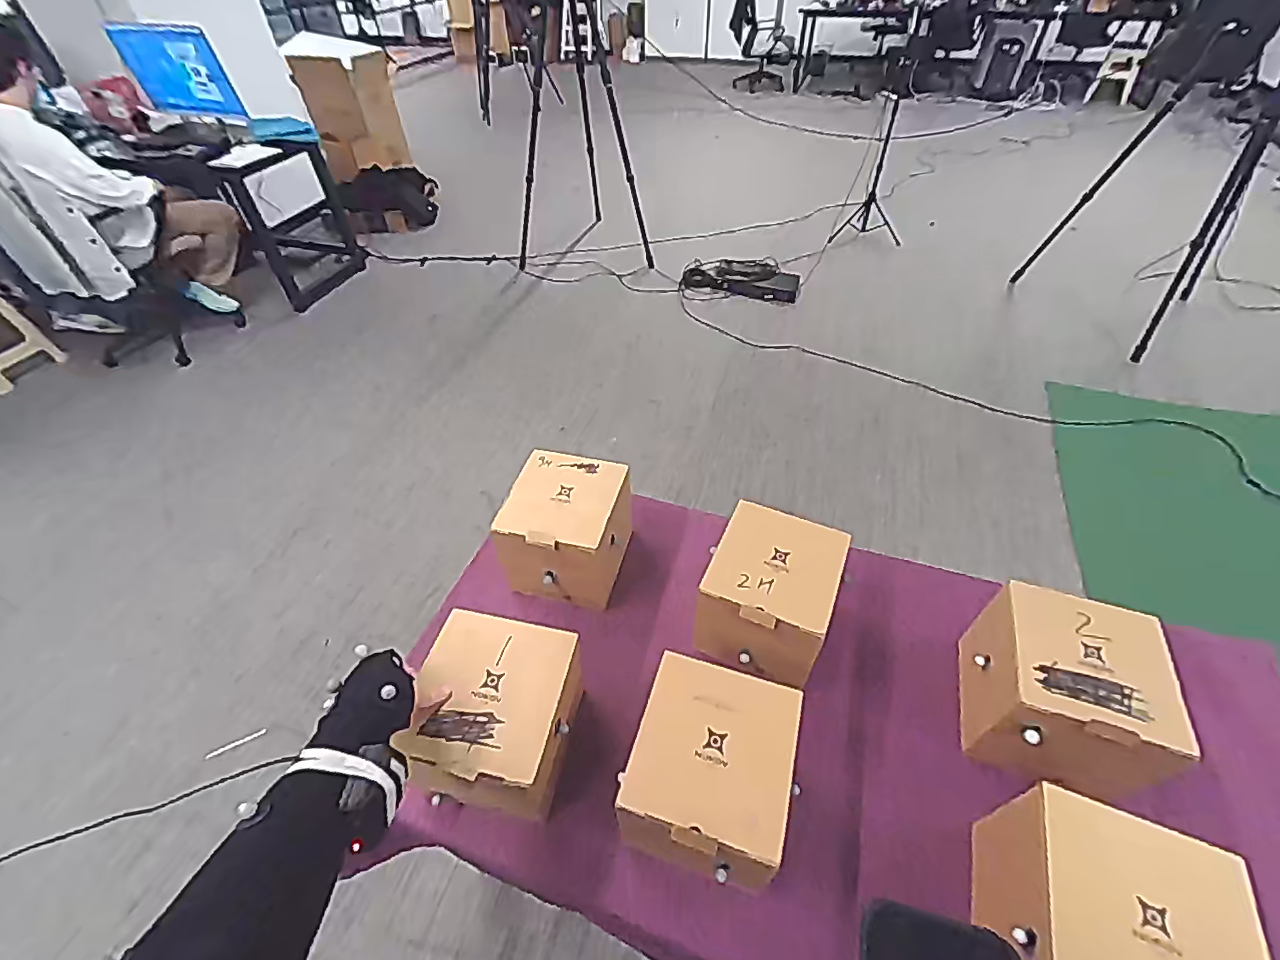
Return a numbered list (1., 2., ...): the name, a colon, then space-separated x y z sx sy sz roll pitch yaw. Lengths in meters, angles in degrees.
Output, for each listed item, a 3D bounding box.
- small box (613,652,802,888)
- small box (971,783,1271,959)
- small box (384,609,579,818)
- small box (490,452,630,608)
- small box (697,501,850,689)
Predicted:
1. small box: 0.080 0.338 0.629 0.168 0.176 0.179 14 47 14
2. small box: 0.440 0.436 0.519 0.168 0.176 0.179 17 49 18
3. small box: -0.176 0.293 0.672 0.168 0.176 0.179 10 46 6
4. small box: -0.116 0.083 0.879 0.168 0.176 0.179 10 48 11
5. small box: 0.187 0.166 0.786 0.168 0.176 0.179 18 50 19
